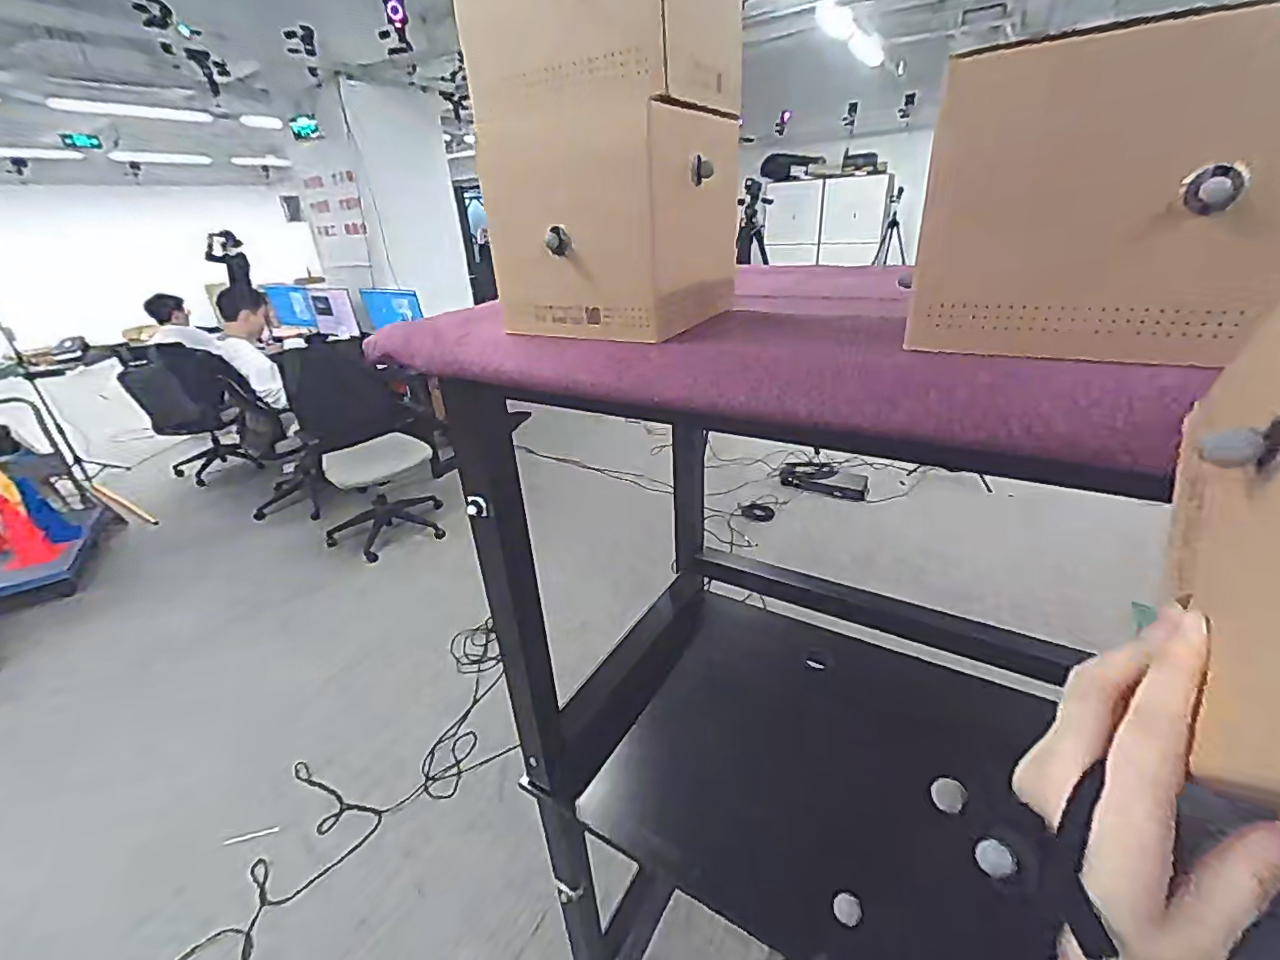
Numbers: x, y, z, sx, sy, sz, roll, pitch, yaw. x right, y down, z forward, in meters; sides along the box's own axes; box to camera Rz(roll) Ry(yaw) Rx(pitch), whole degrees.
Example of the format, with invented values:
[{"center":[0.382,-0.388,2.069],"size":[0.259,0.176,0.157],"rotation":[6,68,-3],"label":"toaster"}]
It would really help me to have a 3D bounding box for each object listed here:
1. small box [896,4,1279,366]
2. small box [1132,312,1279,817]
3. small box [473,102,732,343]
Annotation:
[{"center":[0.287,-0.177,0.362],"size":[0.179,0.176,0.168],"rotation":[10,28,29],"label":"small box"},{"center":[0.269,0.033,0.138],"size":[0.179,0.176,0.168],"rotation":[14,76,32],"label":"small box"},{"center":[-0.021,-0.230,0.504],"size":[0.168,0.176,0.179],"rotation":[12,30,27],"label":"small box"}]
